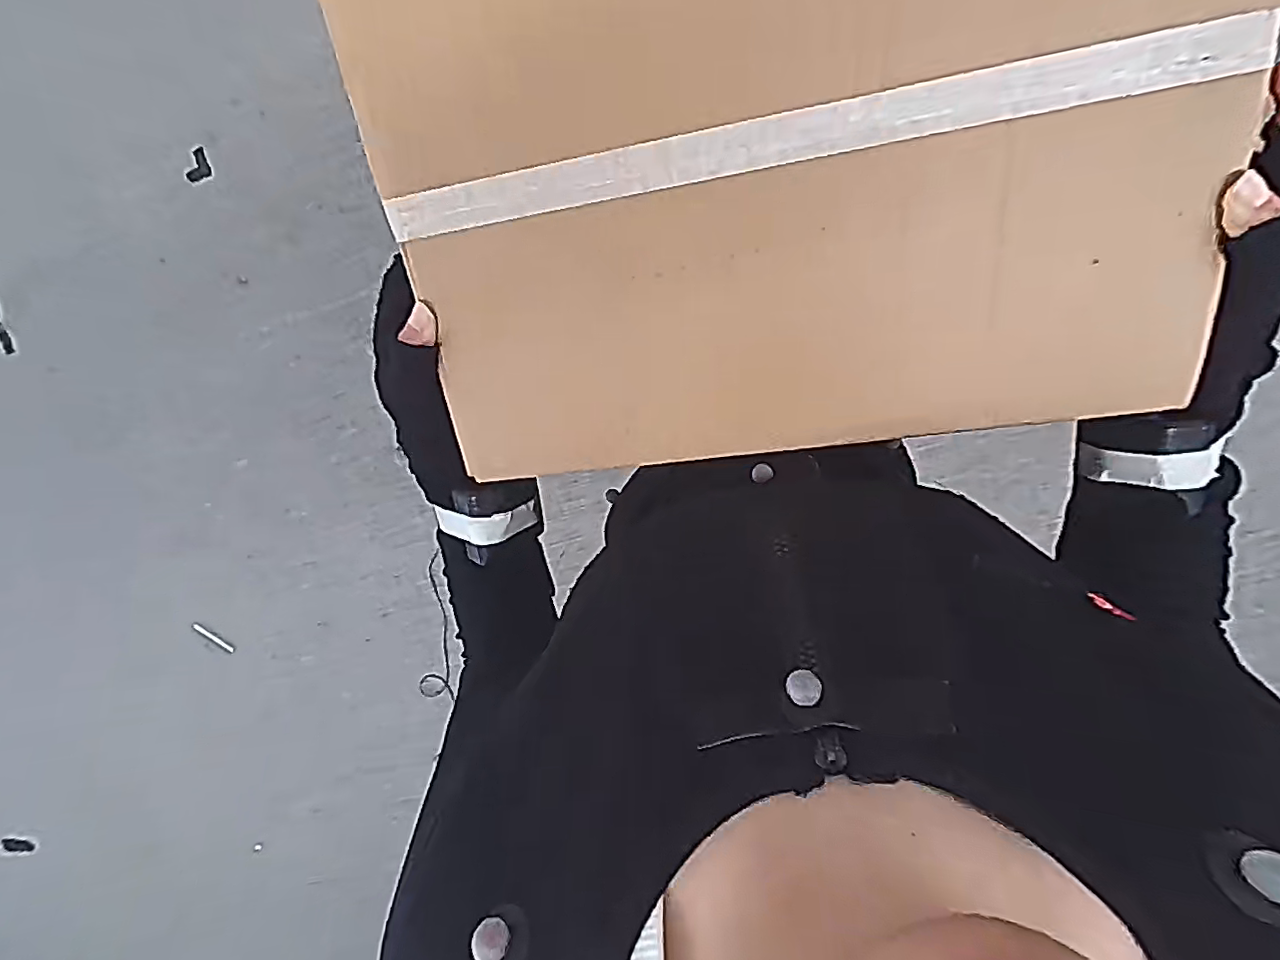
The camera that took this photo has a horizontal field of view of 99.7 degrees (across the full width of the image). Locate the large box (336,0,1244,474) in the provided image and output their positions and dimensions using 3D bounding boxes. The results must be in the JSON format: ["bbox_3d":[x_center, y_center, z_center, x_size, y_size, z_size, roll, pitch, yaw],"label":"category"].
[{"bbox_3d":[0.077,-0.224,0.404,0.408,0.320,0.320,-6,114,10],"label":"large box"}]
